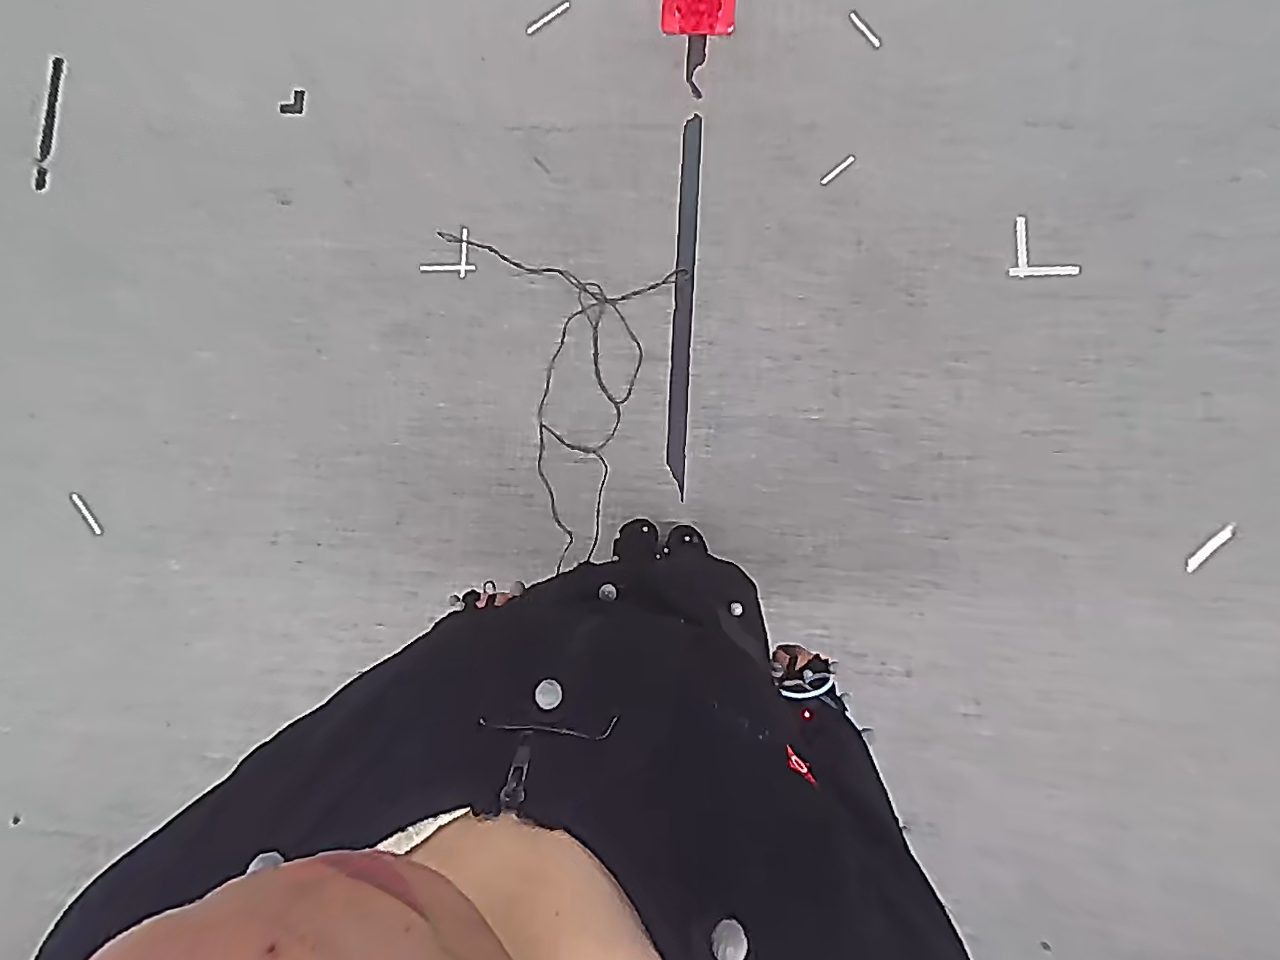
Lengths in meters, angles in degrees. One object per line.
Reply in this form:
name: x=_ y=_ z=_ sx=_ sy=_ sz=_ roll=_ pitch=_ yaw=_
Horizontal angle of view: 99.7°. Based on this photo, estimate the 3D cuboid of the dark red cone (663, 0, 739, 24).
dark red cone: x=0.150 y=-1.320 z=1.270 sx=0.201 sy=0.394 sz=0.202 roll=2 pitch=87 yaw=4
